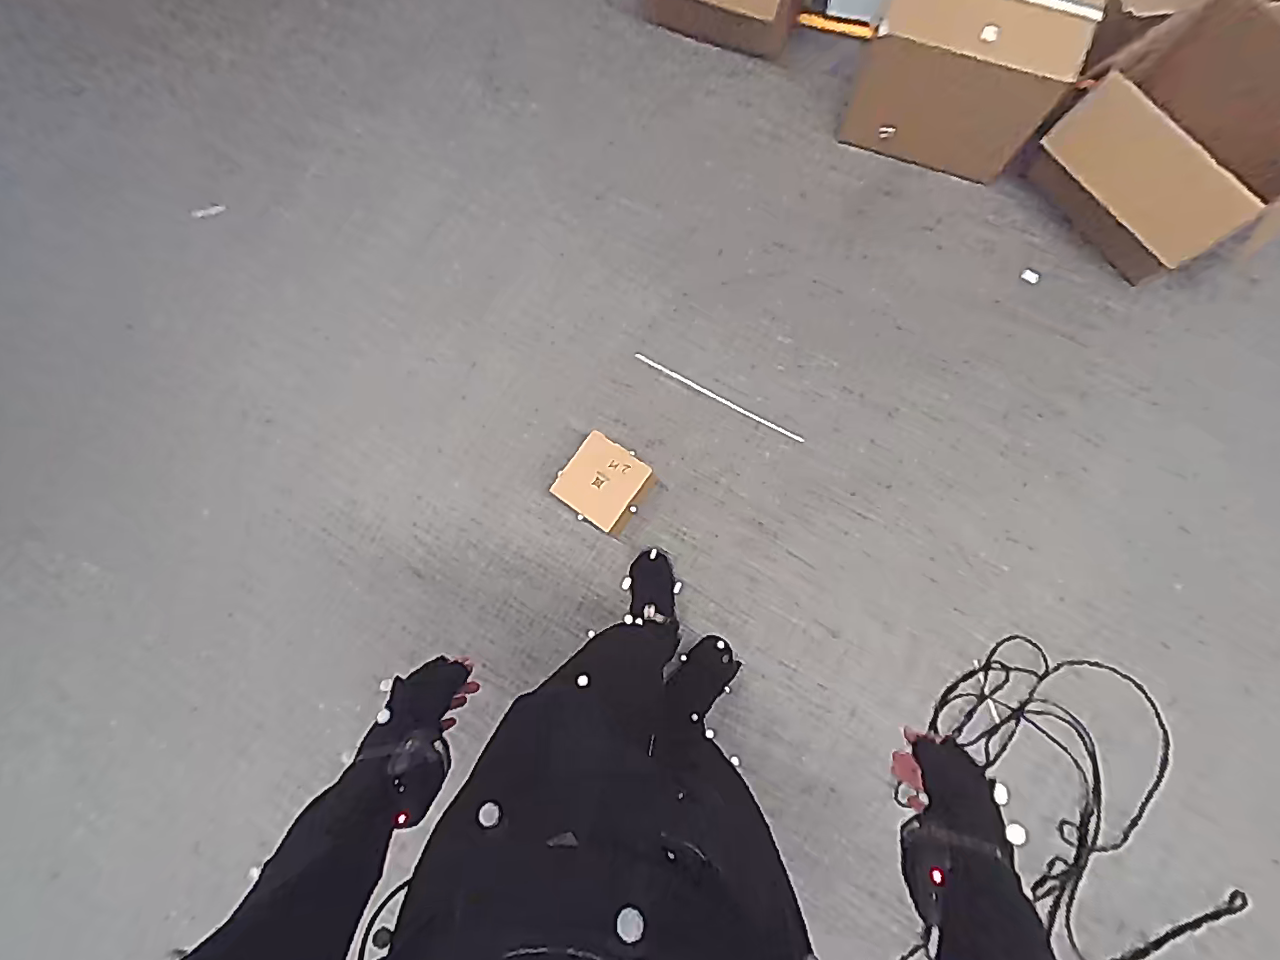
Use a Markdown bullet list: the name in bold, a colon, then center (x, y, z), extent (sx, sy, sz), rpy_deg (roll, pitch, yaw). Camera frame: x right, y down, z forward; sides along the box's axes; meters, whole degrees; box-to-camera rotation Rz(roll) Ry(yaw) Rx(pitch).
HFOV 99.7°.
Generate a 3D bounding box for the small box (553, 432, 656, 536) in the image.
- **small box**: center (-0.073, 0.018, 1.268), extent (0.168, 0.176, 0.179), rpy_deg (36, 86, 9)
